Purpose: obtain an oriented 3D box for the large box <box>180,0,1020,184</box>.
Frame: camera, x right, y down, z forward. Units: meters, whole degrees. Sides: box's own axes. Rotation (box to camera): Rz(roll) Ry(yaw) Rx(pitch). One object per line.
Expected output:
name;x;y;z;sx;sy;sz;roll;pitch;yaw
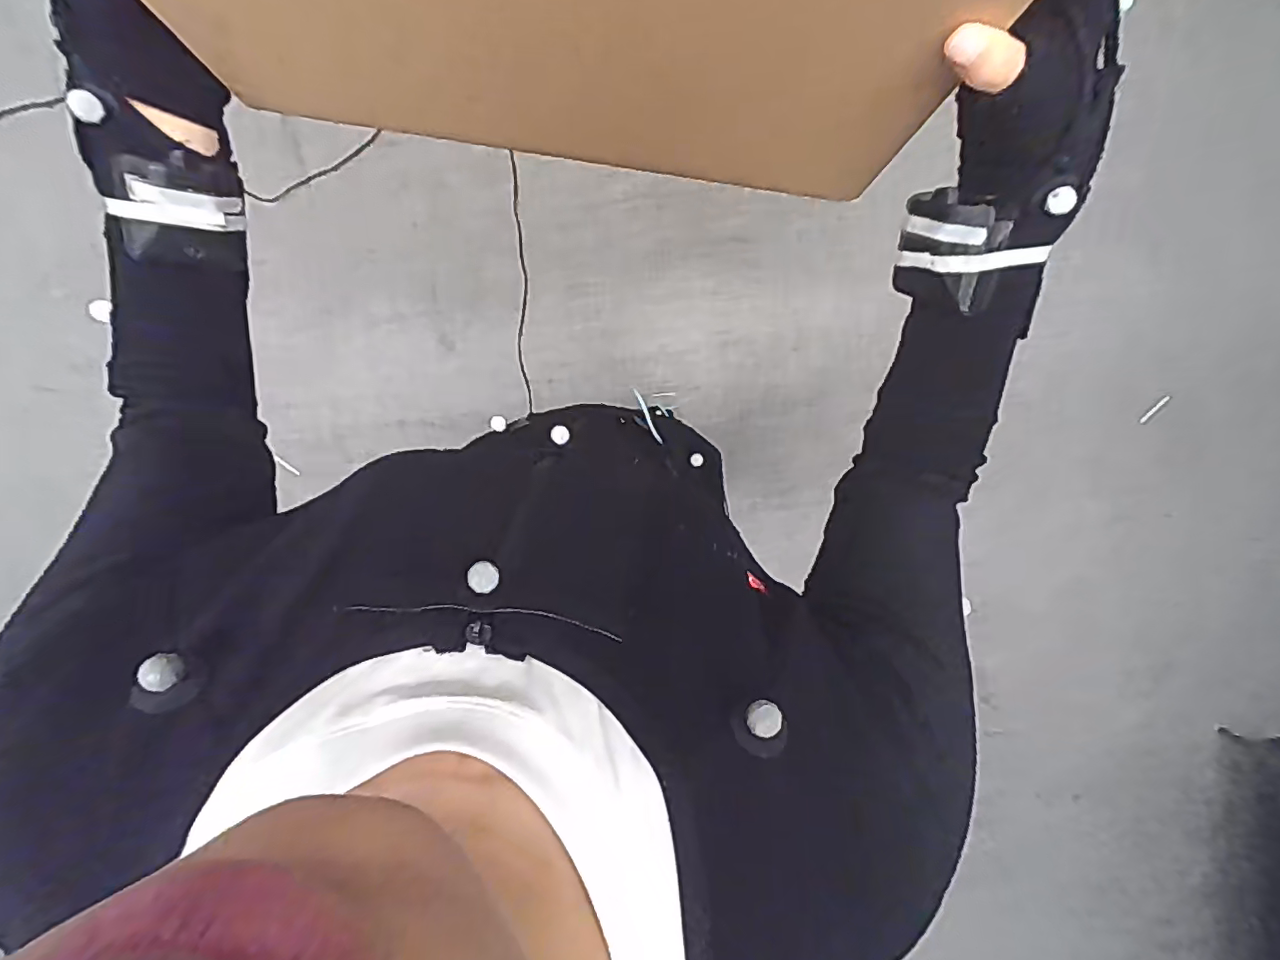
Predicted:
large box;-0.019;-0.368;0.208;0.408;0.320;0.320;7;91;-4
